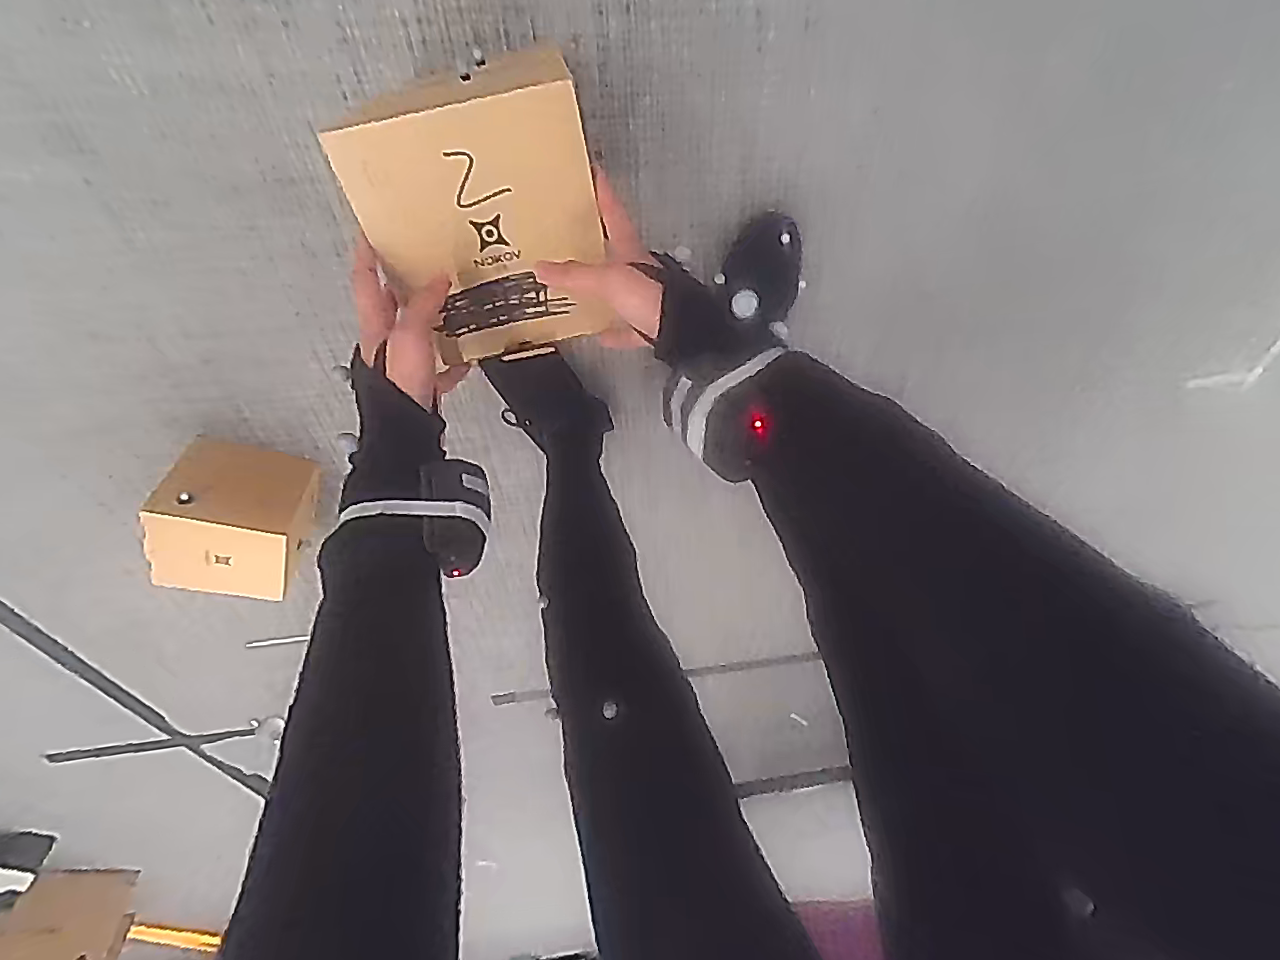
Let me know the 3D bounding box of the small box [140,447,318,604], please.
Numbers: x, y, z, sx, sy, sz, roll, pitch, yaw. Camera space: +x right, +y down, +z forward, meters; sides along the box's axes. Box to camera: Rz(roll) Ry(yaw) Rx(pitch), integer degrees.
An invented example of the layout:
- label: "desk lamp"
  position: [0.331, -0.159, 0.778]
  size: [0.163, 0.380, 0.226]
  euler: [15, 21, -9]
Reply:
- label: "small box"
  position: [-0.626, 0.070, 0.848]
  size: [0.179, 0.176, 0.168]
  euler: [14, 127, -21]

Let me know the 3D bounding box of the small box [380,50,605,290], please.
- label: "small box"
  position: [-0.144, -0.335, 0.579]
  size: [0.168, 0.176, 0.179]
  euler: [-14, 132, 2]
